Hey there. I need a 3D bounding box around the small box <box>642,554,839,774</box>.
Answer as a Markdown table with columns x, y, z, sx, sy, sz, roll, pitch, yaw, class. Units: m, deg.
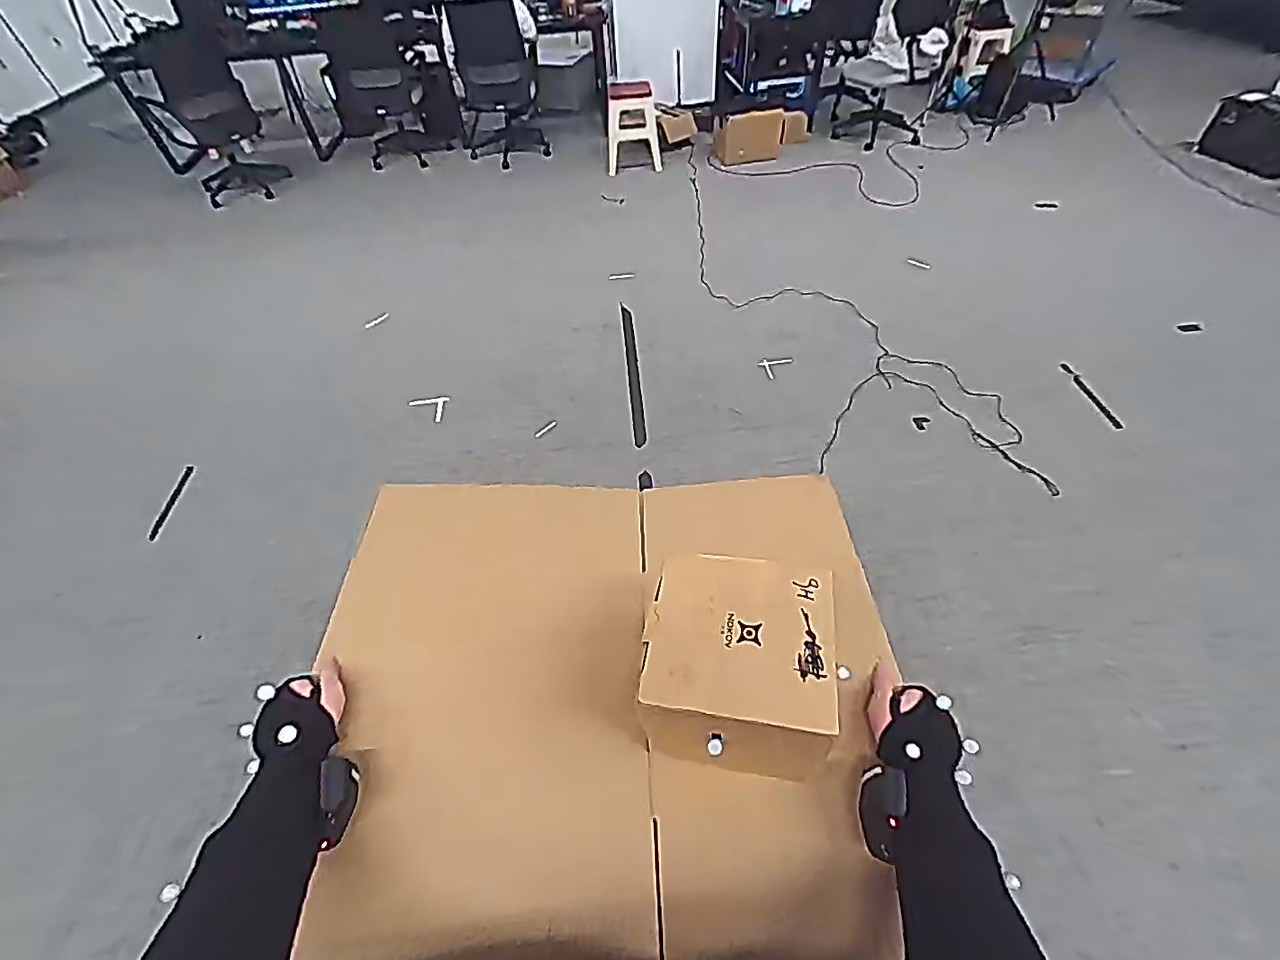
| x | y | z | sx | sy | sz | roll | pitch | yaw | class |
| --- | --- | --- | --- | --- | --- | --- | --- | --- | --- |
| 0.112 | 0.200 | 0.586 | 0.179 | 0.176 | 0.168 | 3 | 49 | 13 | small box |
